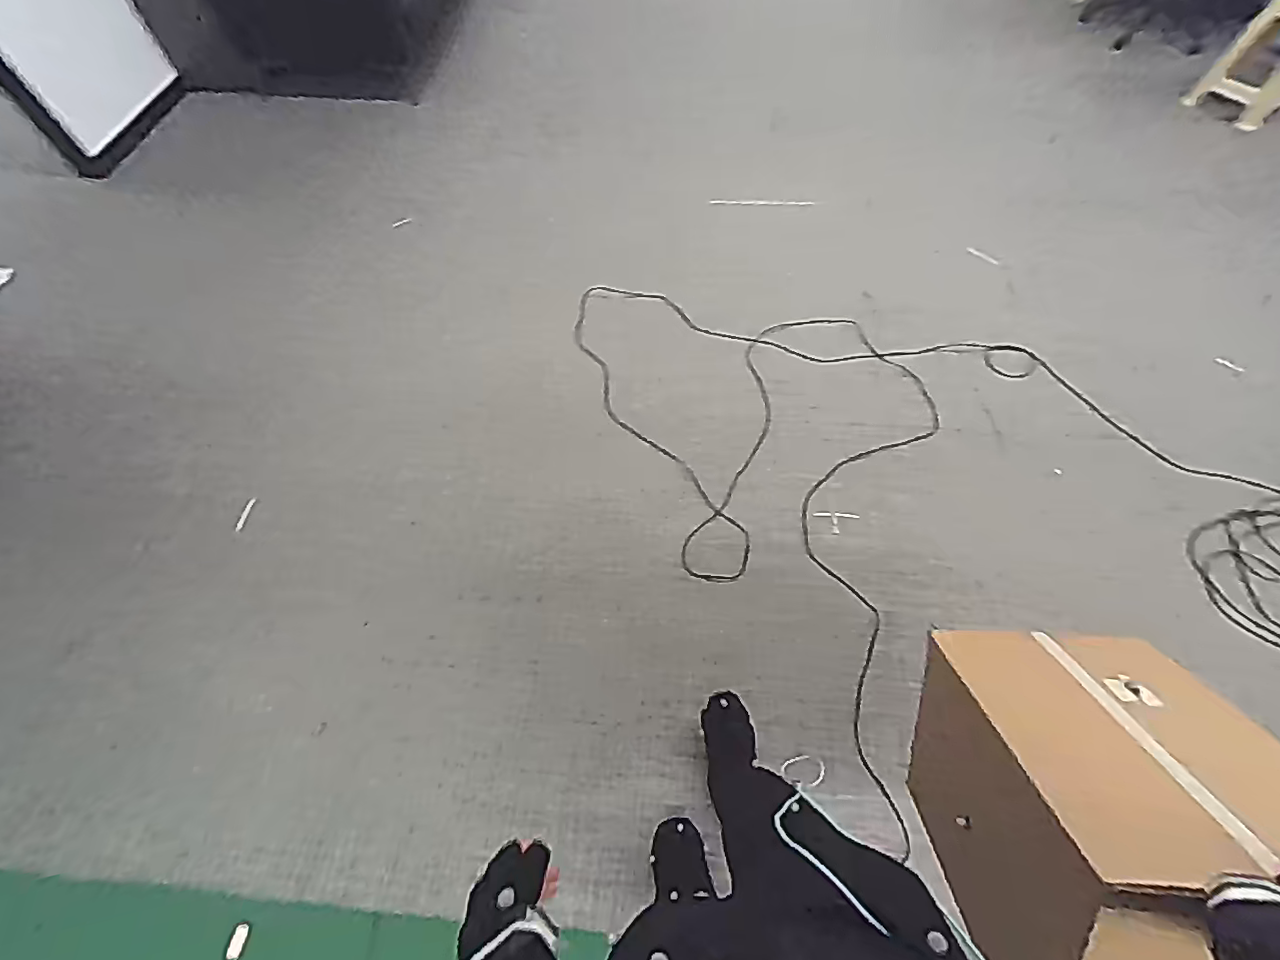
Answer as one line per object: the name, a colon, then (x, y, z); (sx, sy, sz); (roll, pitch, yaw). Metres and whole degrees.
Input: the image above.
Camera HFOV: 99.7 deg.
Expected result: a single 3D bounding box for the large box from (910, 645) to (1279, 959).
large box: (0.598, 0.469, 0.712); (0.320, 0.320, 0.408); (0, 16, 6)
